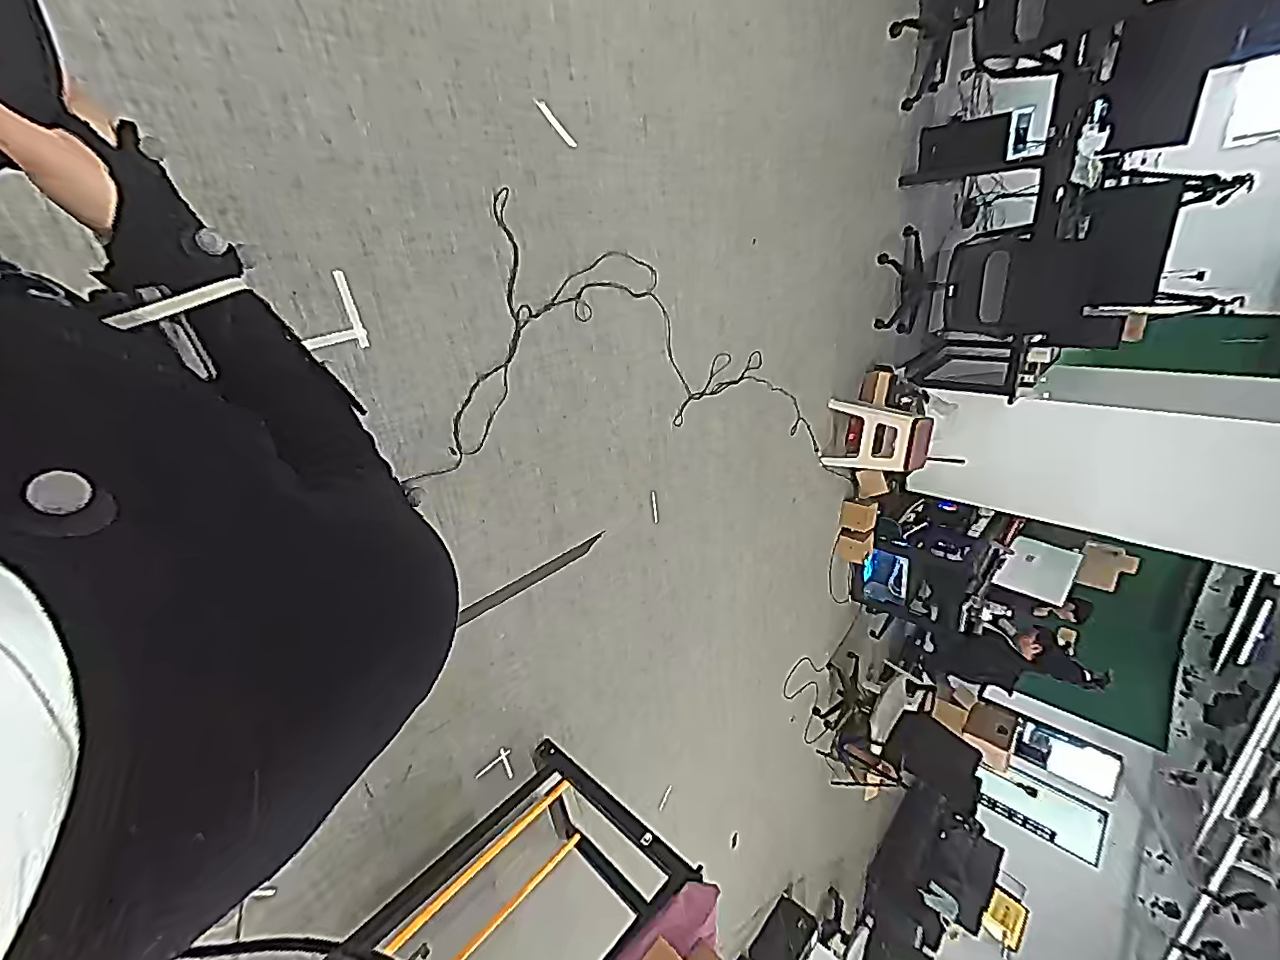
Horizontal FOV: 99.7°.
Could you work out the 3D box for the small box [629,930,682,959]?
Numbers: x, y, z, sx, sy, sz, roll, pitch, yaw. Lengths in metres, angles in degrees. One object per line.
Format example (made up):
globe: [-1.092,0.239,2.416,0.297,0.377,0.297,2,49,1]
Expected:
small box: [0.044,1.322,1.384,0.179,0.176,0.168,-30,125,-36]
